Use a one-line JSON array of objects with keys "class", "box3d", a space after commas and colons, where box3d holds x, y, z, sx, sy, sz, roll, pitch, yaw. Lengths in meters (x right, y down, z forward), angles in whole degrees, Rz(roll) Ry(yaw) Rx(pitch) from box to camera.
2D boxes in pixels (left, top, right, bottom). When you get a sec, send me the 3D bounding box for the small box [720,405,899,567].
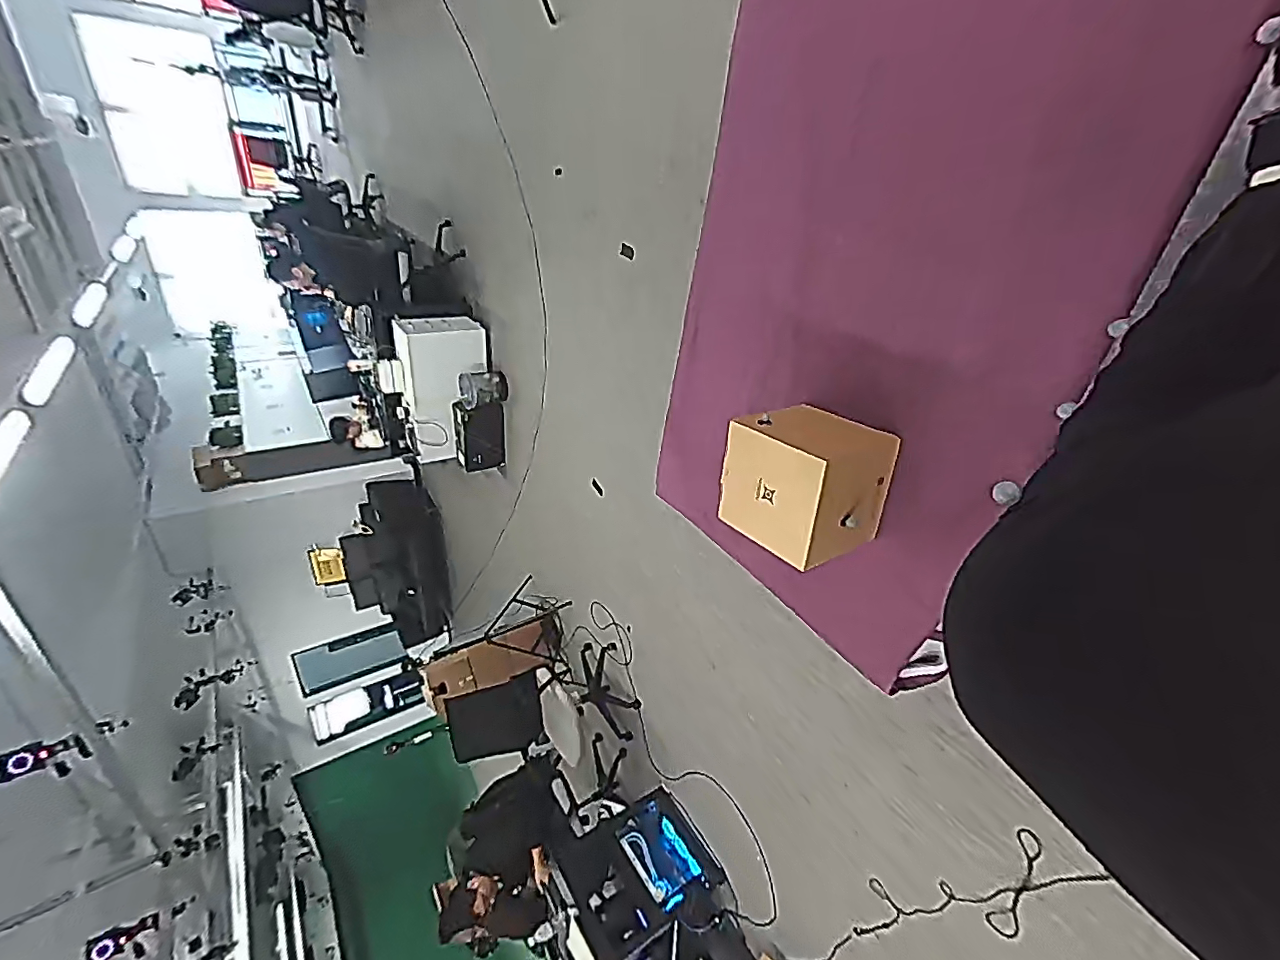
[{"class": "small box", "box3d": [0.244, -0.004, 0.793, 0.179, 0.176, 0.168, 34, 130, 48]}]
